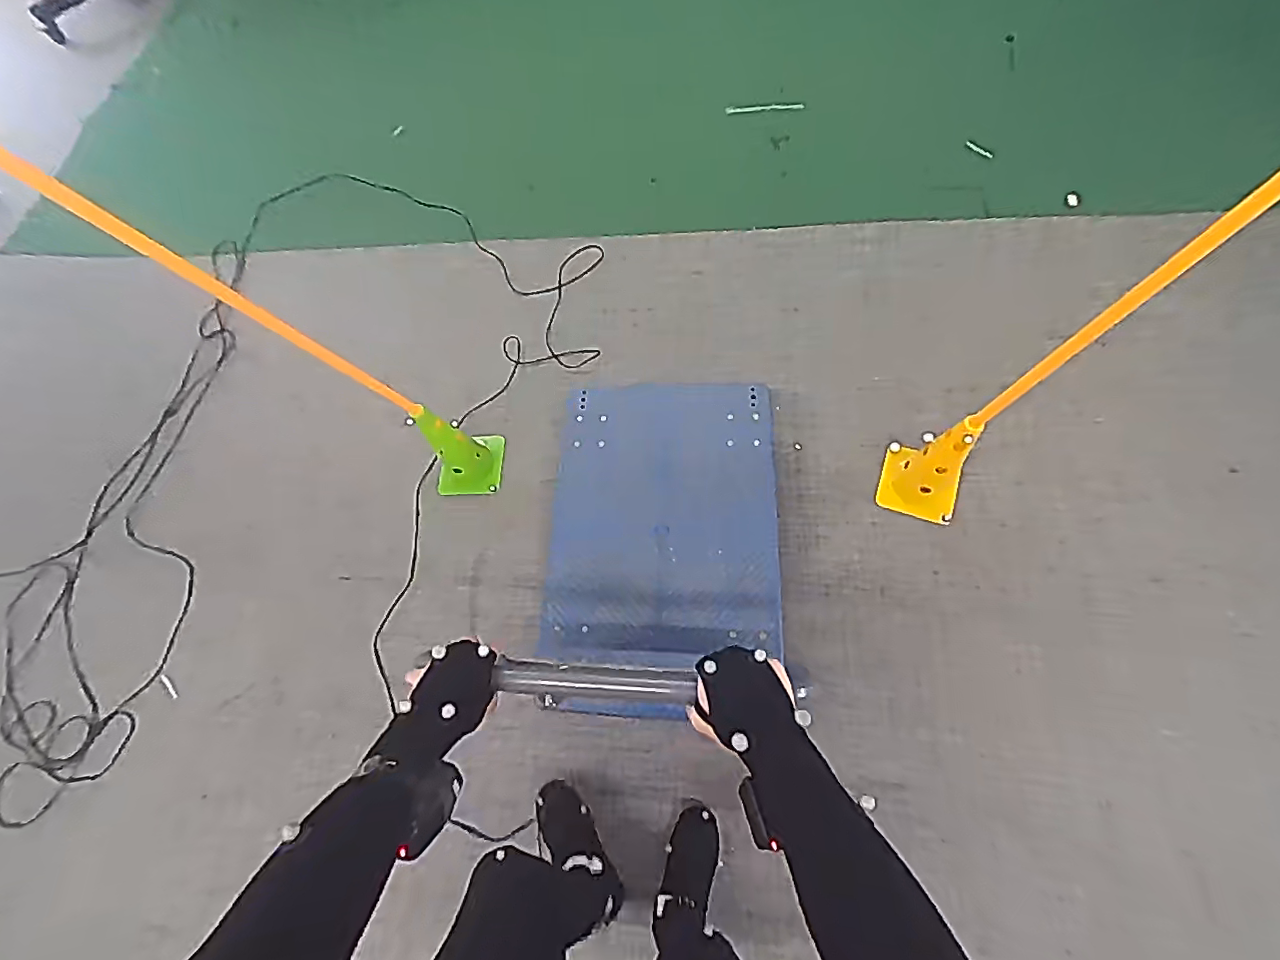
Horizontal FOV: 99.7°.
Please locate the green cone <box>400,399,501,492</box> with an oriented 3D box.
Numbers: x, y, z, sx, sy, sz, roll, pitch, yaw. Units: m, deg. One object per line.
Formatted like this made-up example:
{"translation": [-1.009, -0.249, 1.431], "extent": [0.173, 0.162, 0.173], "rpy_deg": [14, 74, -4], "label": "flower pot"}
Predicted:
{"translation": [-0.563, -0.126, 1.541], "extent": [0.202, 0.368, 0.200], "rpy_deg": [-3, 67, 8], "label": "green cone"}
